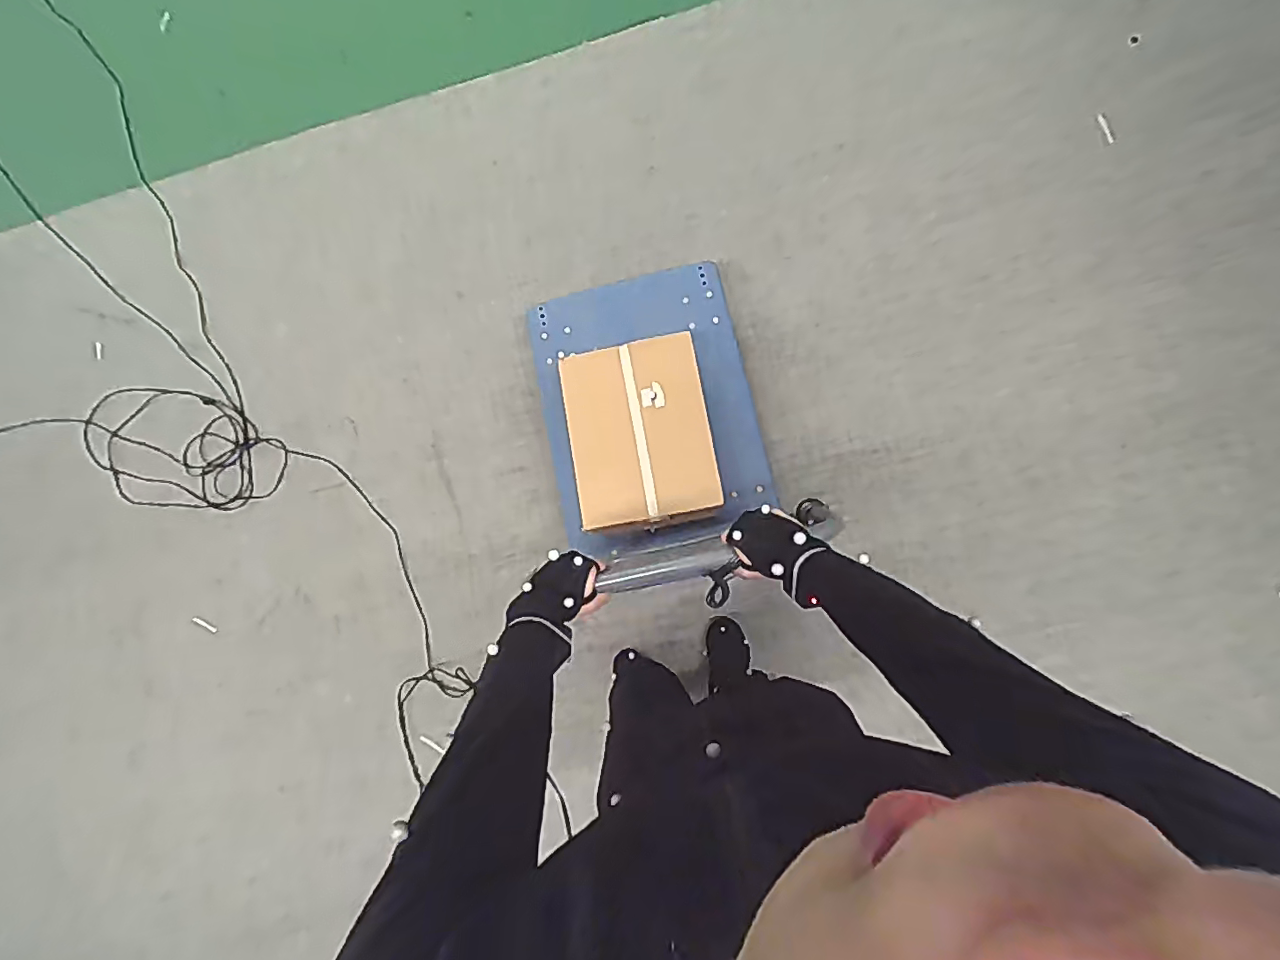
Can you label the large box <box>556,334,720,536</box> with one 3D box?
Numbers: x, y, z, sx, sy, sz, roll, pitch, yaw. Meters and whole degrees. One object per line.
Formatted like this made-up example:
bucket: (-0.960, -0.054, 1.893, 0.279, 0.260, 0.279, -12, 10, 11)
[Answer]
large box: (0.005, -0.090, 1.351, 0.320, 0.320, 0.408, -11, 80, 4)
